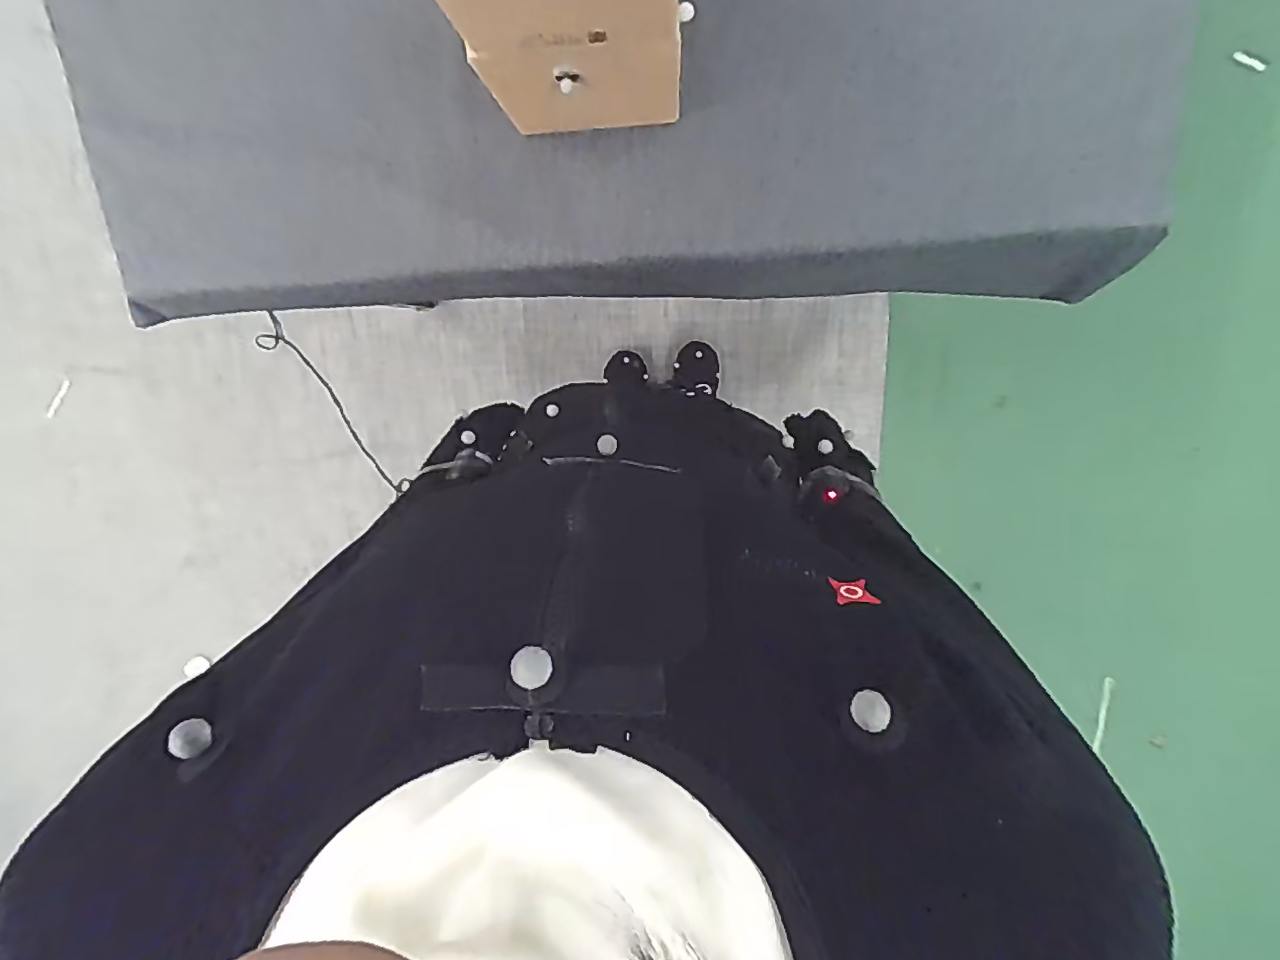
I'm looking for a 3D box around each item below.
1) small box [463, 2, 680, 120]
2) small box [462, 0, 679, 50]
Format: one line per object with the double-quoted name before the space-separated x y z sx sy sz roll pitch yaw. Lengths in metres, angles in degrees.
"small box" -0.053 -0.457 0.497 0.179 0.176 0.168 -2 104 4
"small box" -0.059 -0.420 0.340 0.168 0.176 0.179 -4 105 4
